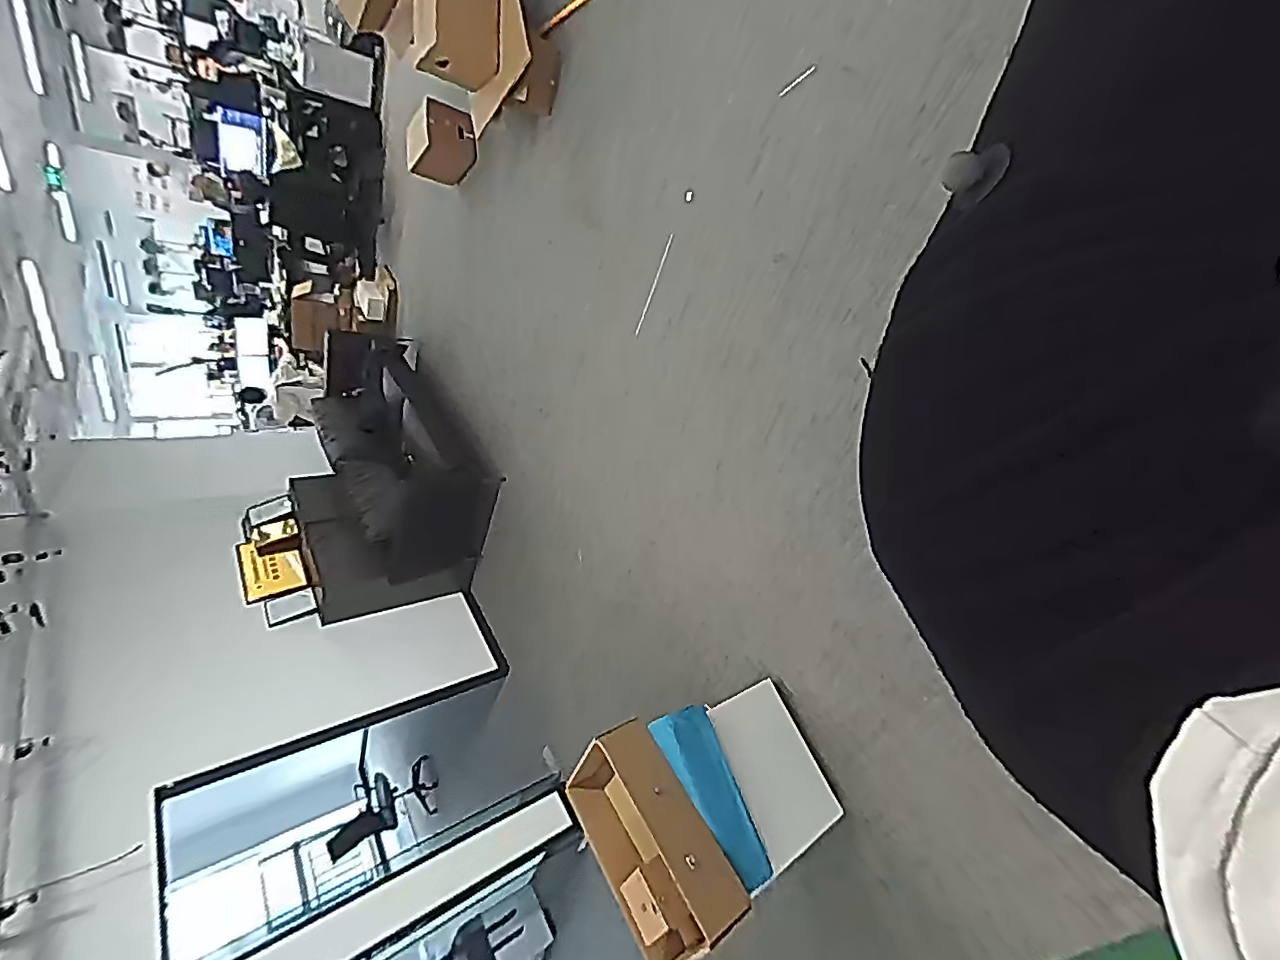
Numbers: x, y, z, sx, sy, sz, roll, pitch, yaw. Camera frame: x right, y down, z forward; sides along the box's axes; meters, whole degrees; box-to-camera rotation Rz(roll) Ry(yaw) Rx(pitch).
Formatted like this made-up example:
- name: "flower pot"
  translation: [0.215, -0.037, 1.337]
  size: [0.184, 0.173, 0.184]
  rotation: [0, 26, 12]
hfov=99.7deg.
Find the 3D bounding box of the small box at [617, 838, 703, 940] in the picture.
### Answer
- name: "small box"
  translation: [0.062, 1.227, 1.629]
  size: [0.168, 0.176, 0.179]
  rotation: [51, 133, 33]
